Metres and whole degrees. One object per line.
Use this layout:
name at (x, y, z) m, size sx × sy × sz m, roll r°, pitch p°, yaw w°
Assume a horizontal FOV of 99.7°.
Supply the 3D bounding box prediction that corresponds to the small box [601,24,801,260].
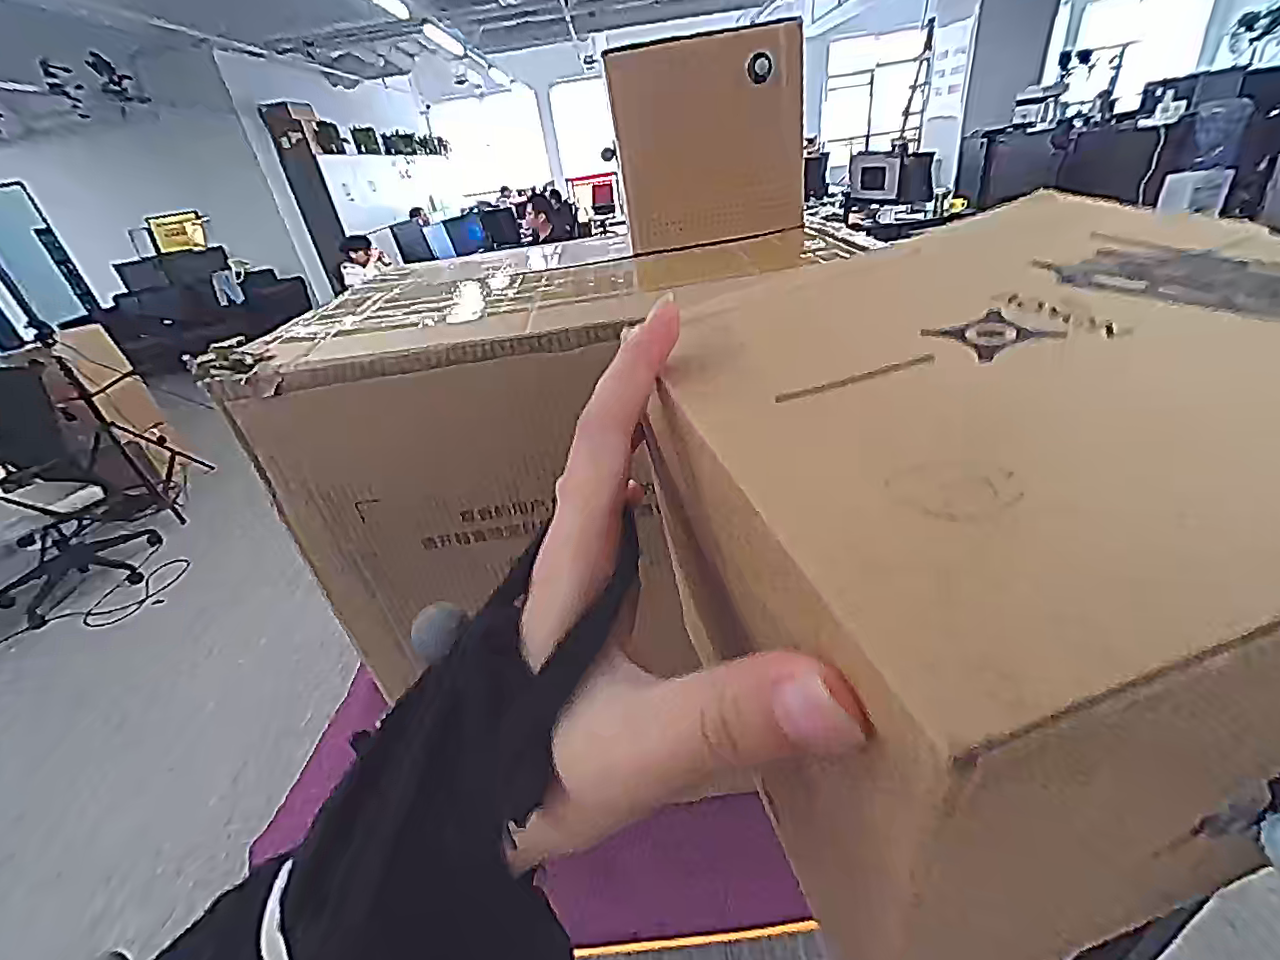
small box at (0.062, -0.337, 0.565) m, size 0.179 × 0.176 × 0.168 m, roll -8°, pitch 30°, yaw 2°
